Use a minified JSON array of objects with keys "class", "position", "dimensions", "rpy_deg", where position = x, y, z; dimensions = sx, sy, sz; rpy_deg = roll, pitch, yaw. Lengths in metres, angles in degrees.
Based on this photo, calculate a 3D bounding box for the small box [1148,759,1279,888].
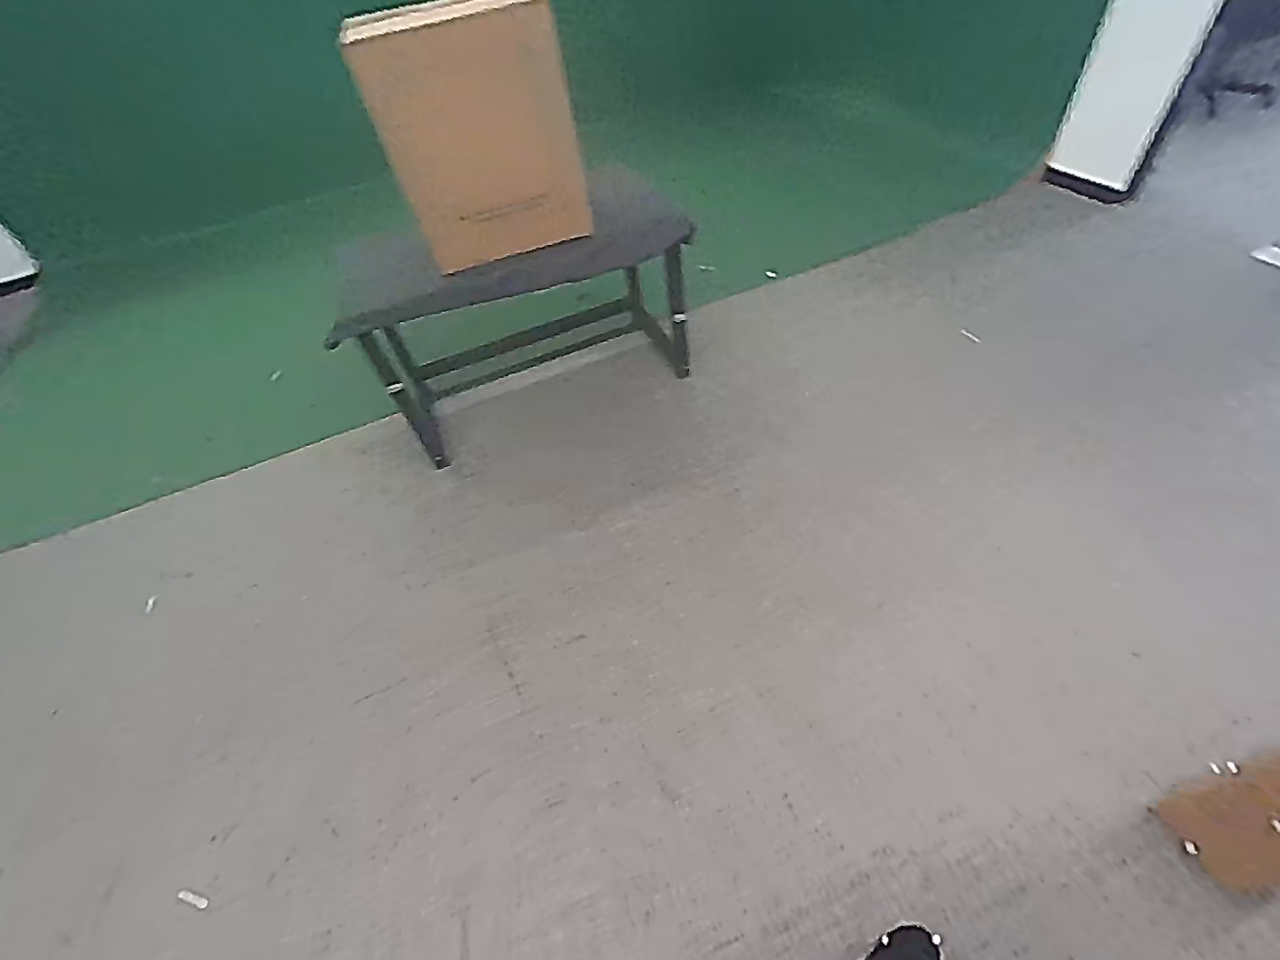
[{"class":"small box","position":[1.257,0.728,1.141],"dimensions":[0.168,0.176,0.179],"rpy_deg":[-20,49,-10]}]
